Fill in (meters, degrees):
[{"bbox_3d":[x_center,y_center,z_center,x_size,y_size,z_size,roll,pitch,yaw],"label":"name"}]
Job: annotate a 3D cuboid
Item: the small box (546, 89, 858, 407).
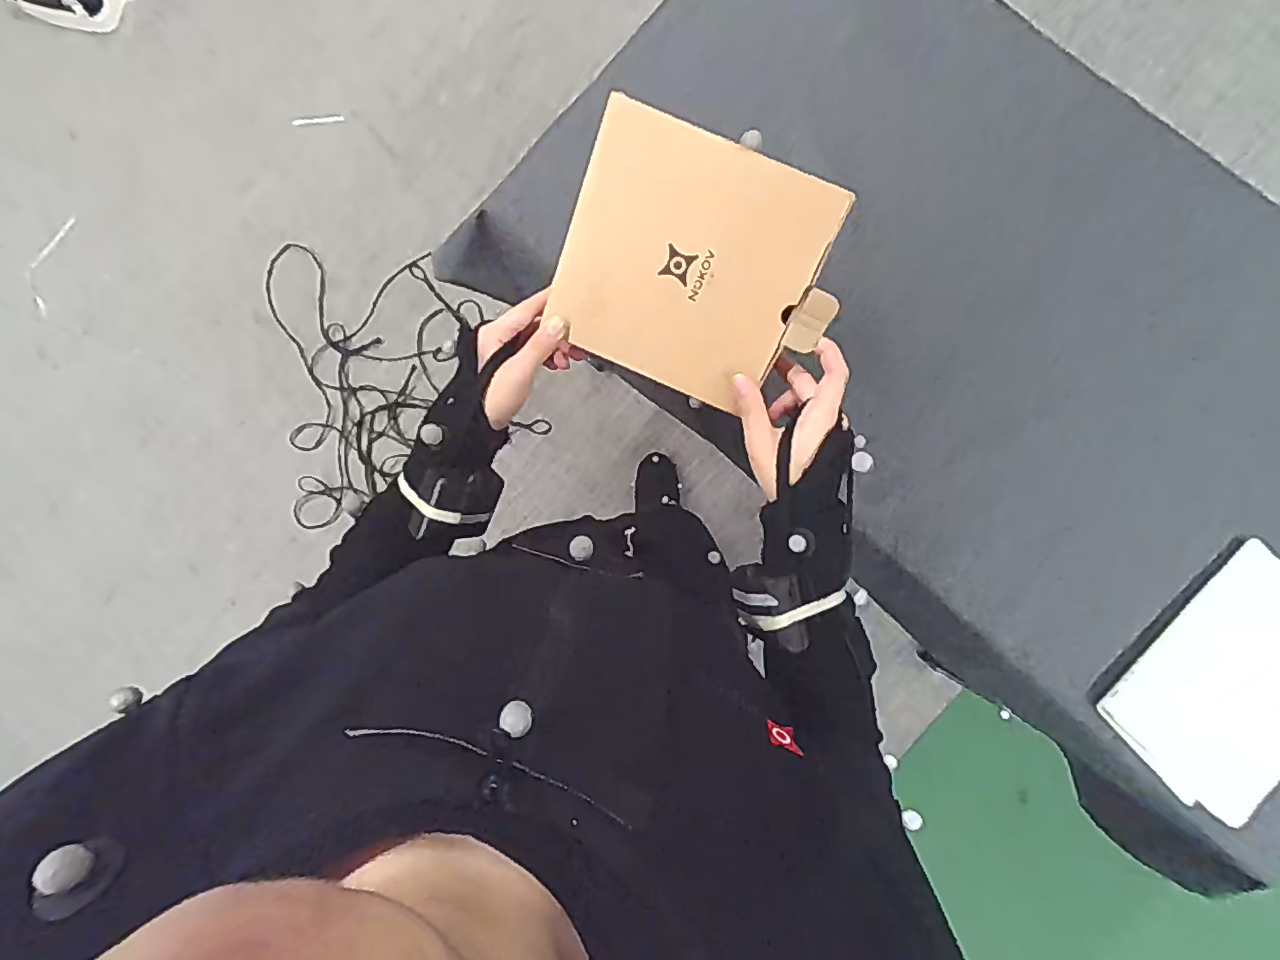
[{"bbox_3d":[0.047,-0.182,0.458,0.179,0.176,0.168,23,112,0],"label":"small box"}]
